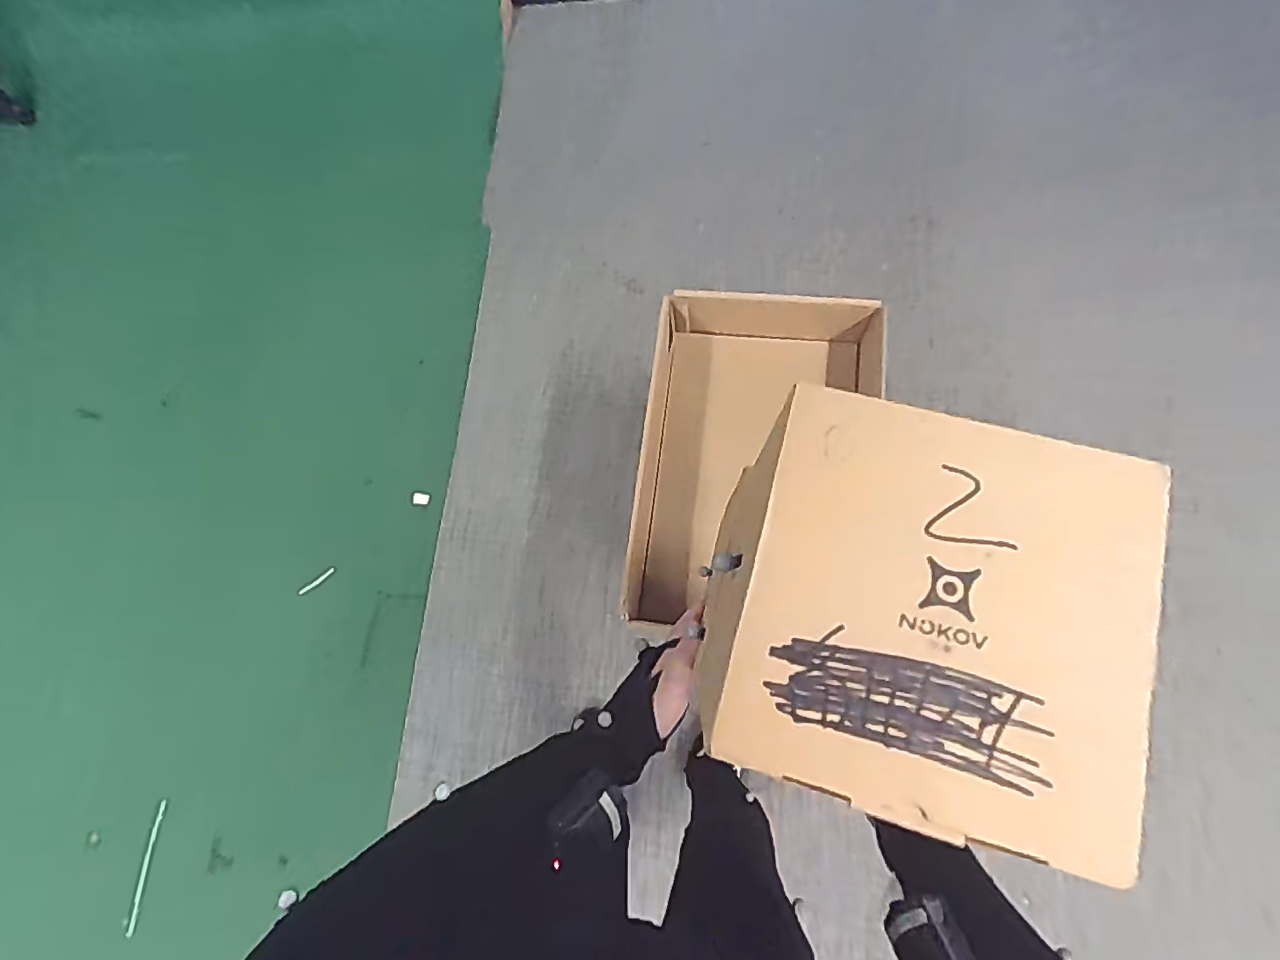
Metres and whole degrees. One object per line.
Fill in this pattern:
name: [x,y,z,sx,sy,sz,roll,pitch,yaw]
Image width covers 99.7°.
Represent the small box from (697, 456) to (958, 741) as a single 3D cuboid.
small box: [0.147,0.098,0.477,0.168,0.176,0.179,13,79,7]
